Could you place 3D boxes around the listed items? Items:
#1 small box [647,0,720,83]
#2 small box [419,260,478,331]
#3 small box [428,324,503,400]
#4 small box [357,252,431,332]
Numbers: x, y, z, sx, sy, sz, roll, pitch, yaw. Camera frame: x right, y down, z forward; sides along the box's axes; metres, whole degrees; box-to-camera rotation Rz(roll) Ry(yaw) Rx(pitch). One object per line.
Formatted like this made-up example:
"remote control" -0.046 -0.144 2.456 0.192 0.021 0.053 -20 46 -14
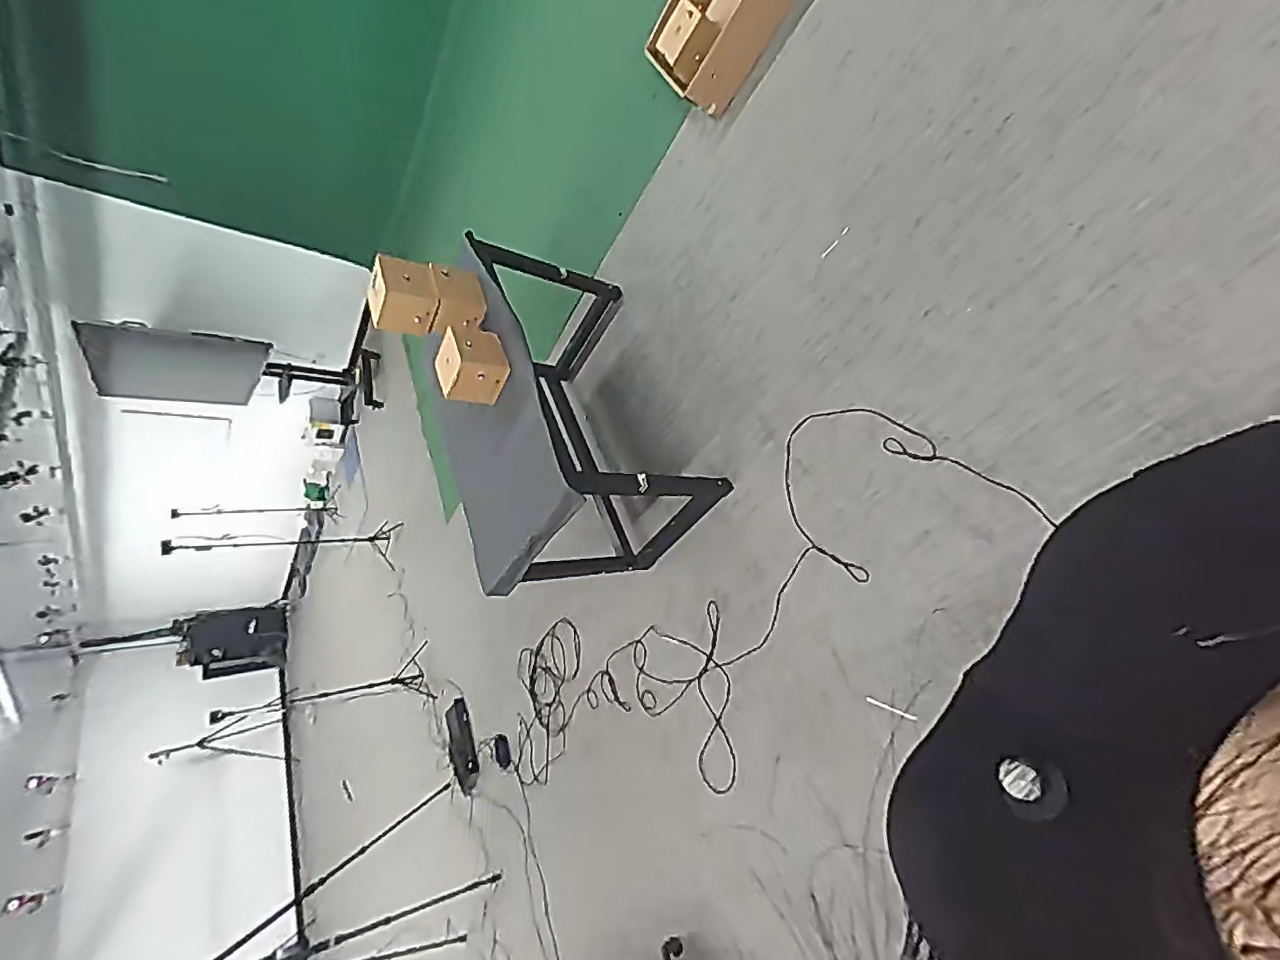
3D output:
"small box" 0.163 -1.619 1.991 0.179 0.176 0.168 -46 57 37
"small box" -0.685 -0.627 1.884 0.168 0.176 0.179 -45 58 40
"small box" -0.562 -0.372 1.744 0.168 0.176 0.179 -50 54 36
"small box" -0.811 -0.609 1.778 0.168 0.176 0.179 -46 58 39
